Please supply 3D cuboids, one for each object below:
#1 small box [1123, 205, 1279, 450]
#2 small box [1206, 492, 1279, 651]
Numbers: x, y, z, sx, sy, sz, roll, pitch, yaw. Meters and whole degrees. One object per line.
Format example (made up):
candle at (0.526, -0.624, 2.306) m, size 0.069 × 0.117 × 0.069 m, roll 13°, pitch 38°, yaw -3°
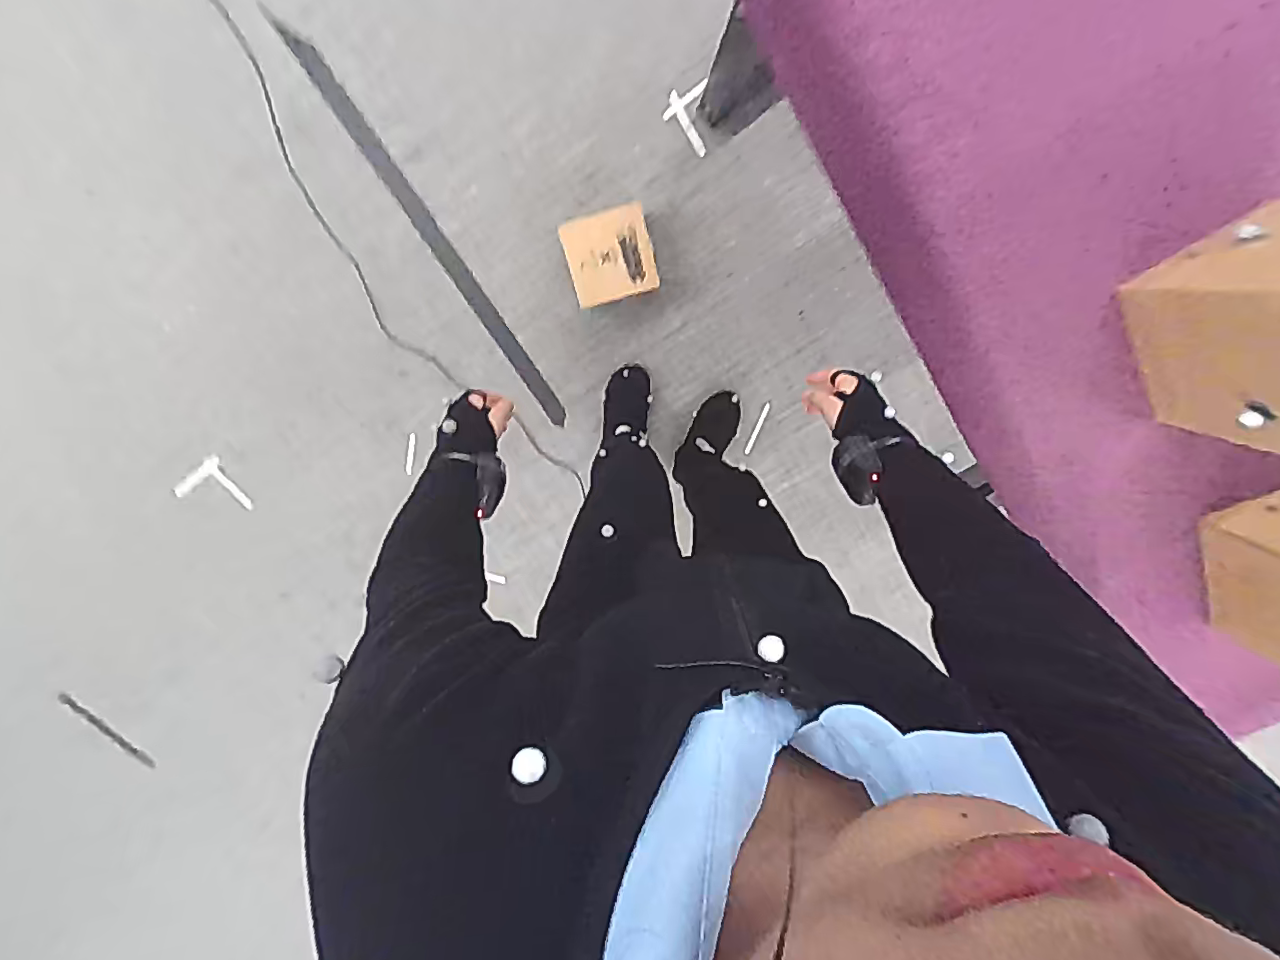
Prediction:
small box at (0.629, -0.153, 0.519) m, size 0.168 × 0.176 × 0.179 m, roll -30°, pitch 107°, yaw 9°
small box at (0.805, 0.110, 0.612) m, size 0.168 × 0.176 × 0.179 m, roll -23°, pitch 108°, yaw 8°
